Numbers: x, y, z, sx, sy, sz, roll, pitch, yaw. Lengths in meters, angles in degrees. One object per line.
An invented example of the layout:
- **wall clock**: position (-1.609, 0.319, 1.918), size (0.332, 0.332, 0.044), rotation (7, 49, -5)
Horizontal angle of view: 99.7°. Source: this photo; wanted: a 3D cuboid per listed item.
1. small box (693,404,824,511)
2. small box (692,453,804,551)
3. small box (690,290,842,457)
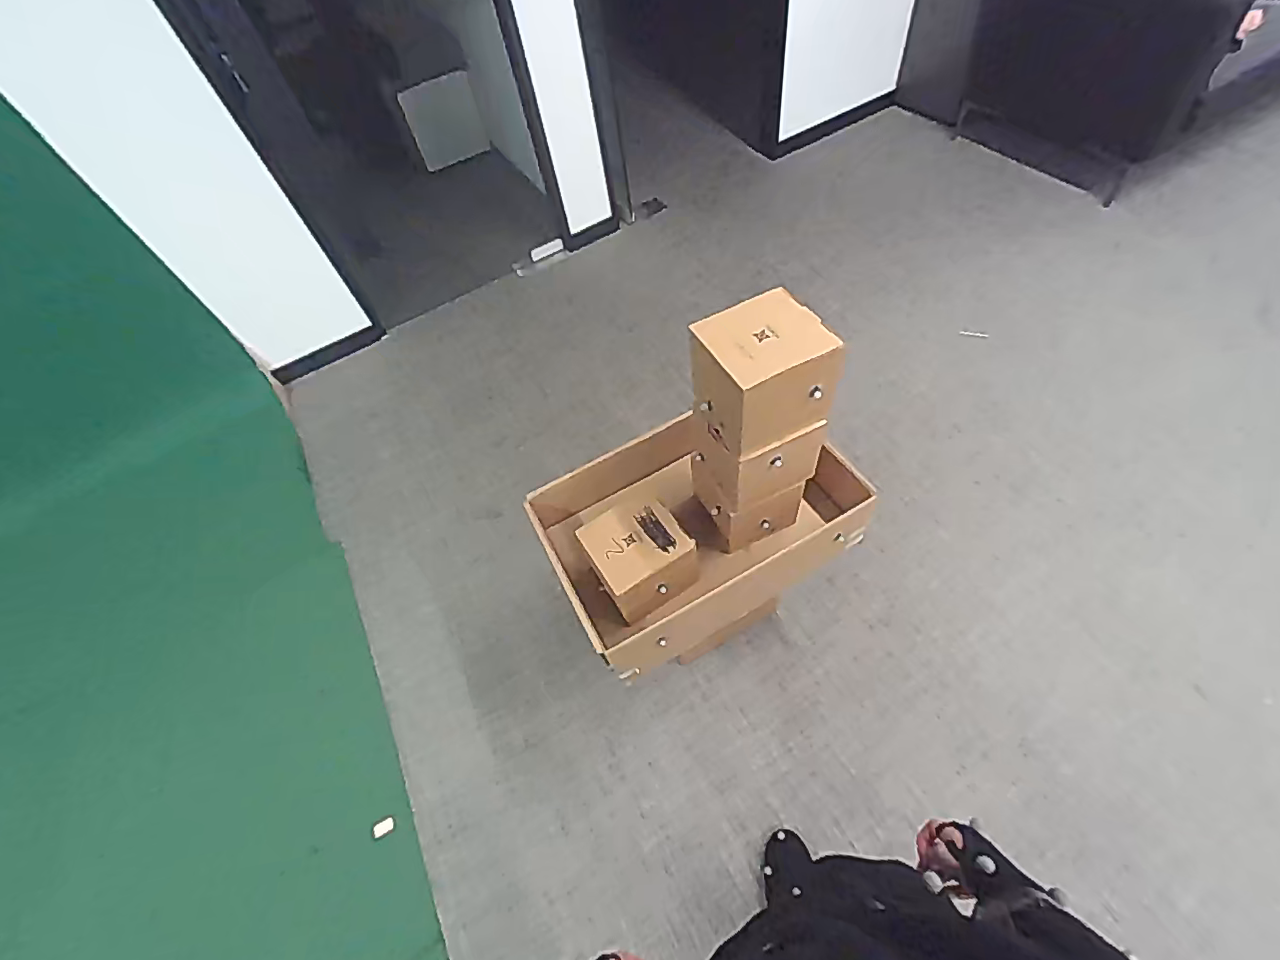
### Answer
- **small box**: position (0.216, -0.069, 1.012), size (0.179, 0.176, 0.168), rotation (-24, 56, -9)
- **small box**: position (0.224, 0.028, 1.144), size (0.168, 0.176, 0.179), rotation (-24, 55, -7)
- **small box**: position (0.196, -0.170, 0.885), size (0.179, 0.176, 0.168), rotation (-25, 55, -8)
